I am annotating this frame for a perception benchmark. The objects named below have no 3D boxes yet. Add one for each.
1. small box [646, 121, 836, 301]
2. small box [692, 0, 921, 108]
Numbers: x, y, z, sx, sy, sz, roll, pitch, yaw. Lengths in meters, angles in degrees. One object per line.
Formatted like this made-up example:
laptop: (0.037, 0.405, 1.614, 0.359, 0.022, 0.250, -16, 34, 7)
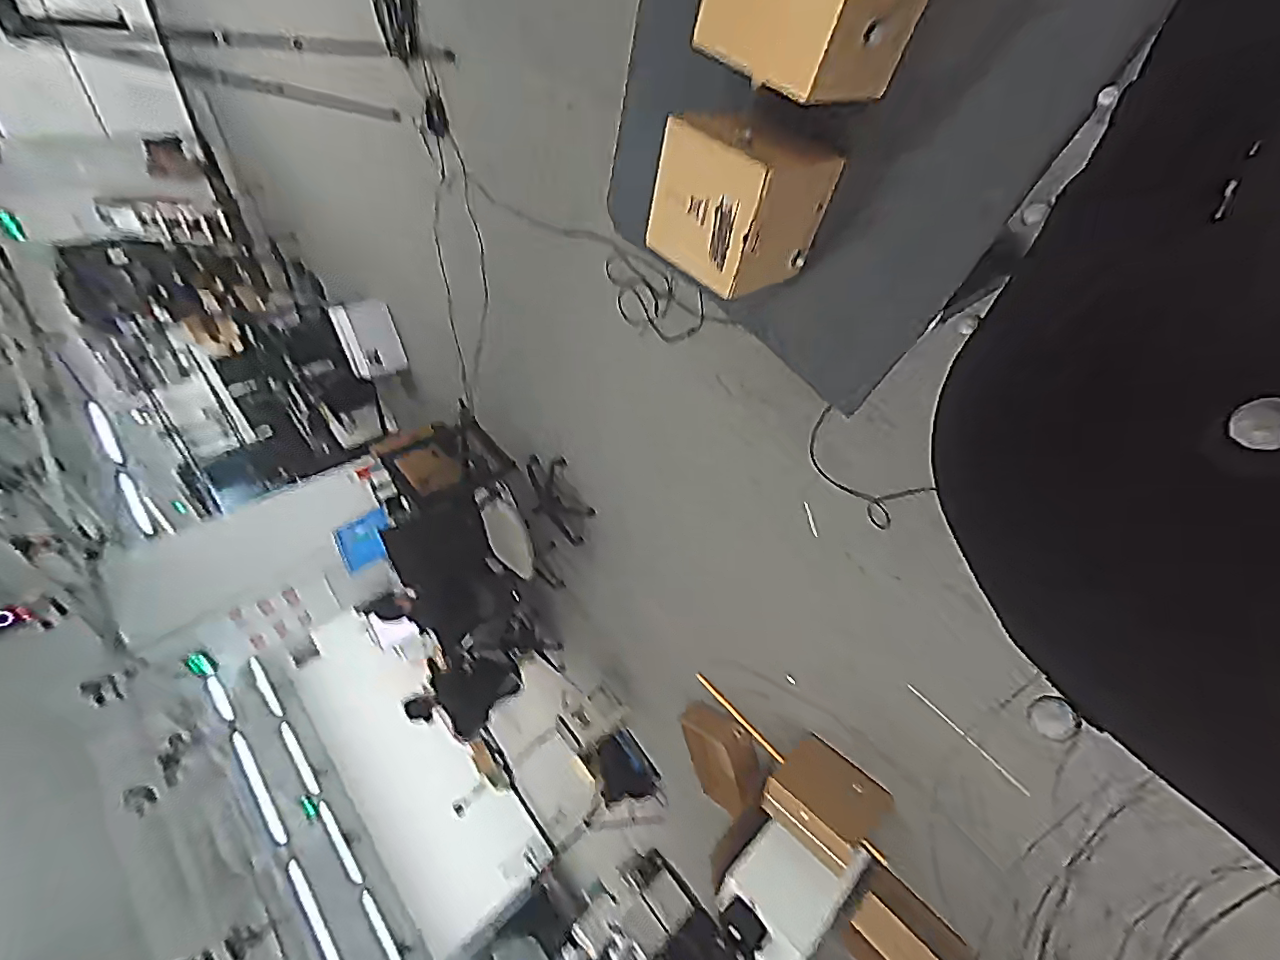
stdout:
small box: (0.138, -0.383, 0.756, 0.179, 0.176, 0.168, 44, 144, 25)
small box: (0.190, -0.528, 0.577, 0.179, 0.176, 0.168, 46, 145, 23)
